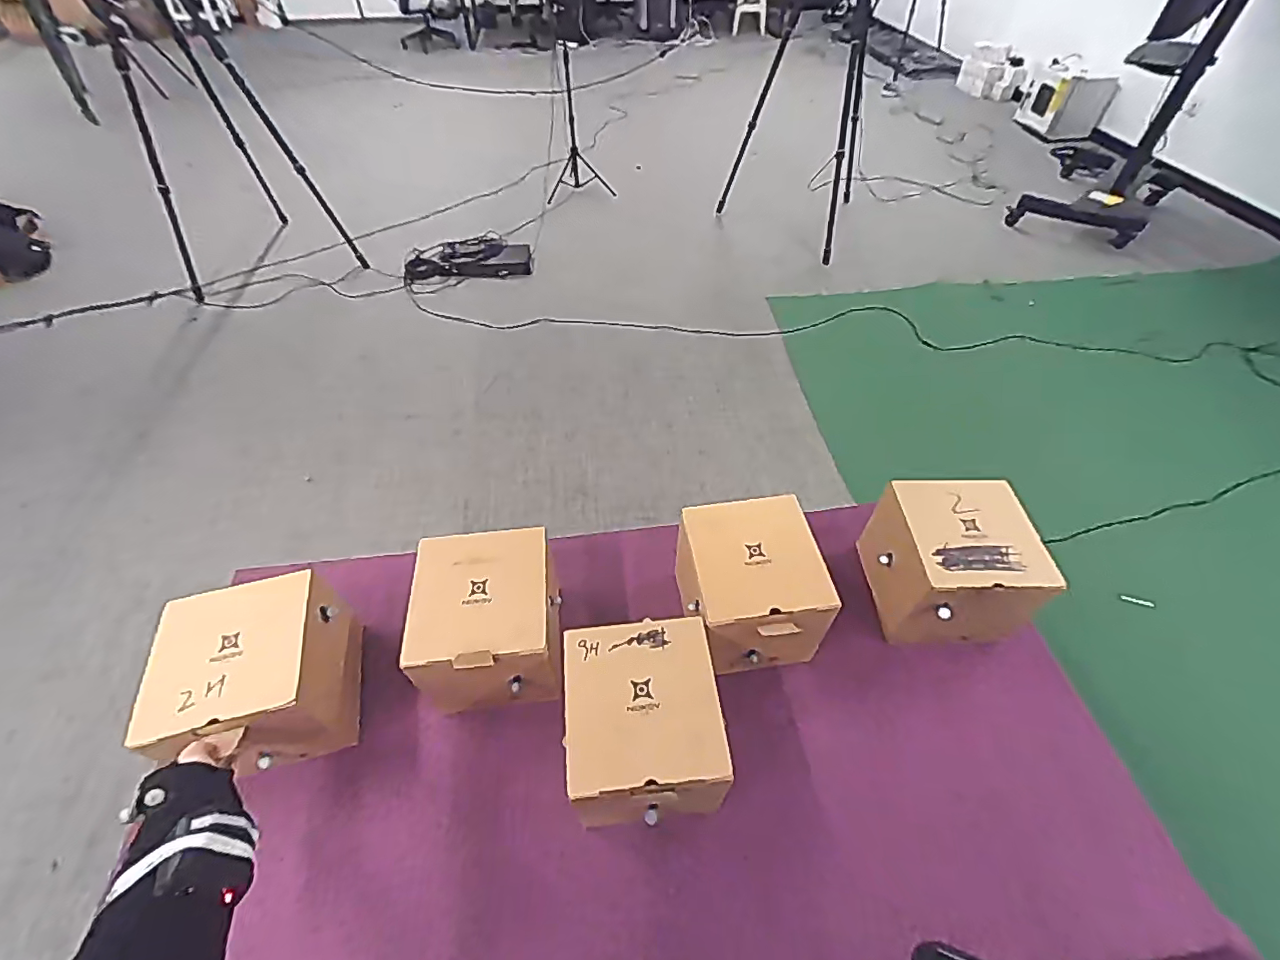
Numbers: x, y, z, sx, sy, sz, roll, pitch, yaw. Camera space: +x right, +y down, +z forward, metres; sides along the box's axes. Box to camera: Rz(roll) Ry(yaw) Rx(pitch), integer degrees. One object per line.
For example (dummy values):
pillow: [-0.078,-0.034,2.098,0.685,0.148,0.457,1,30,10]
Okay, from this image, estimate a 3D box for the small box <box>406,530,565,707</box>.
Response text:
small box: [-0.192,0.191,0.725,0.168,0.176,0.179,-5,50,-4]

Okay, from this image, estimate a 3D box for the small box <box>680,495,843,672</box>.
small box: [0.153,0.146,0.756,0.168,0.176,0.179,-7,51,-5]

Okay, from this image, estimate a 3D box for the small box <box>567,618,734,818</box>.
small box: [0.007,0.286,0.639,0.168,0.176,0.179,-5,50,-4]

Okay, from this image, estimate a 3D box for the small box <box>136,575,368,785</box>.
small box: [-0.459,0.251,0.678,0.168,0.176,0.179,-14,52,-10]
